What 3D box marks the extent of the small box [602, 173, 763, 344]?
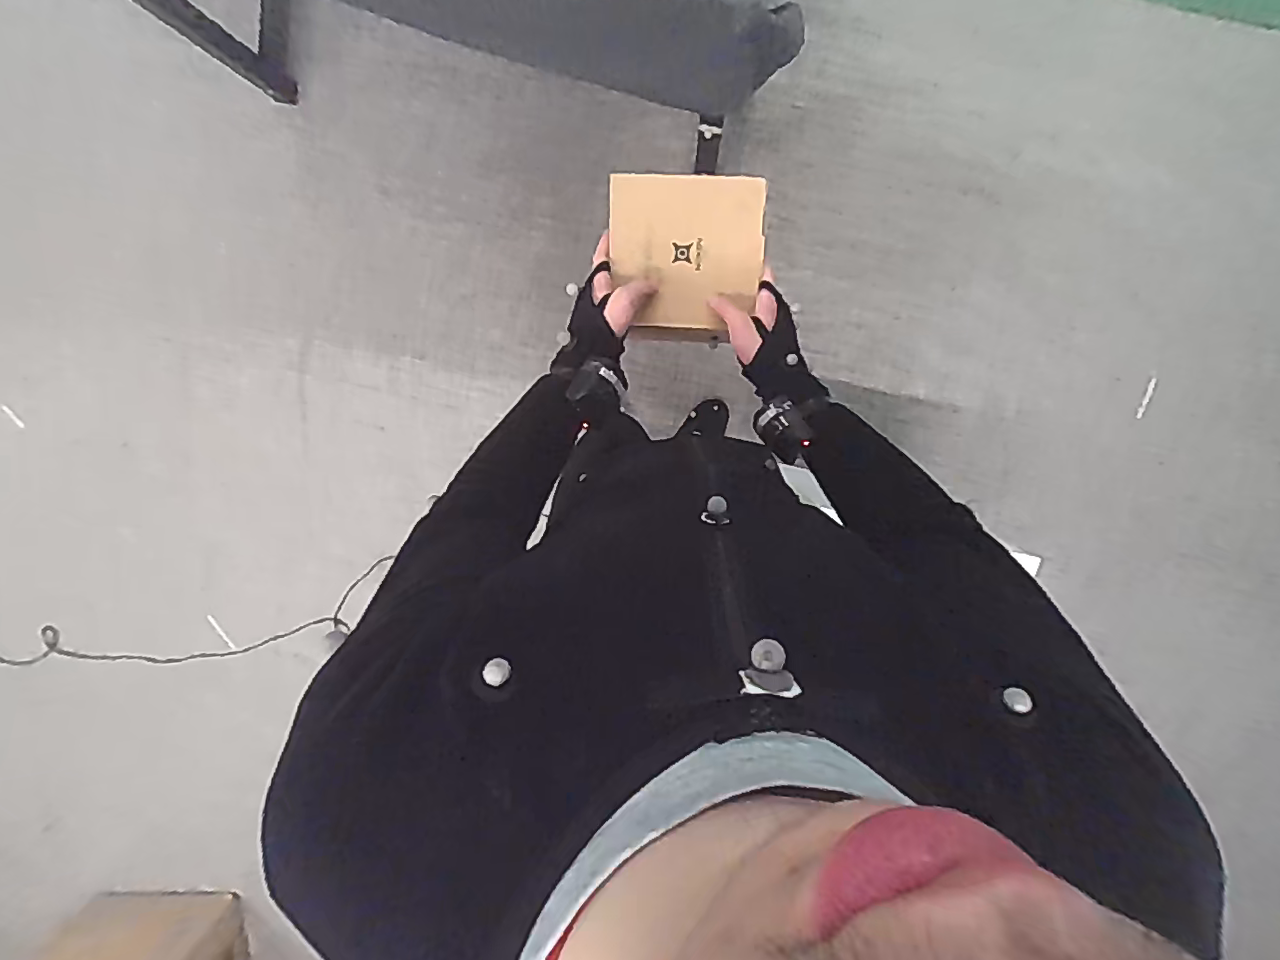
[{"bbox_3d":[0.049,-0.266,0.681,0.179,0.176,0.168,2,98,3],"label":"small box"}]
